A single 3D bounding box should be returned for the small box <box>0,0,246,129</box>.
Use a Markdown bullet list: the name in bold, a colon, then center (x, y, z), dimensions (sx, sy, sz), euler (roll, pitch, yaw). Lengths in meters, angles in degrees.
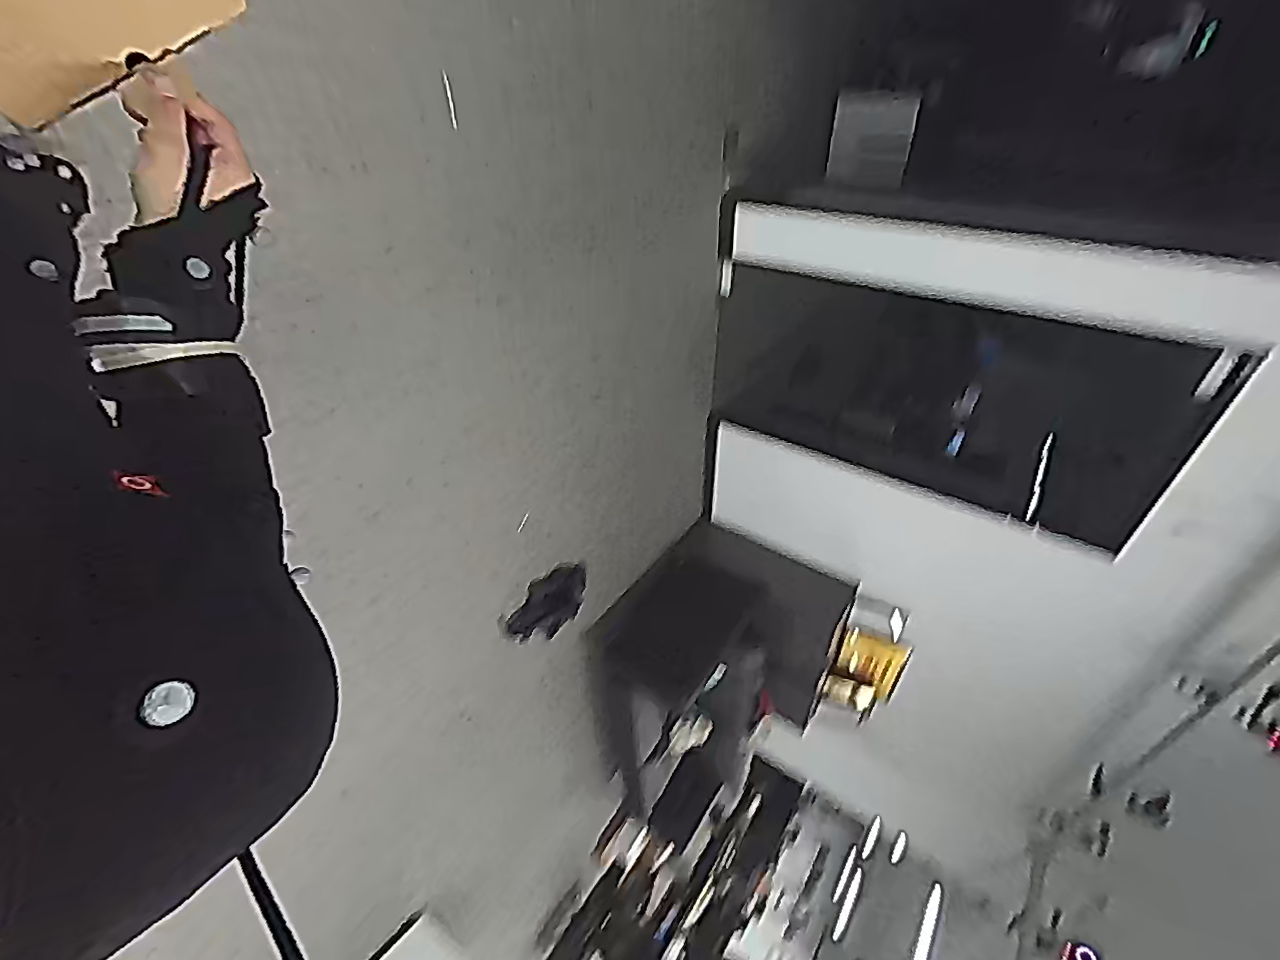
- **small box**: center (-0.396, -0.358, 0.319), dimensions (0.168, 0.176, 0.179), euler (-42, 151, -9)
